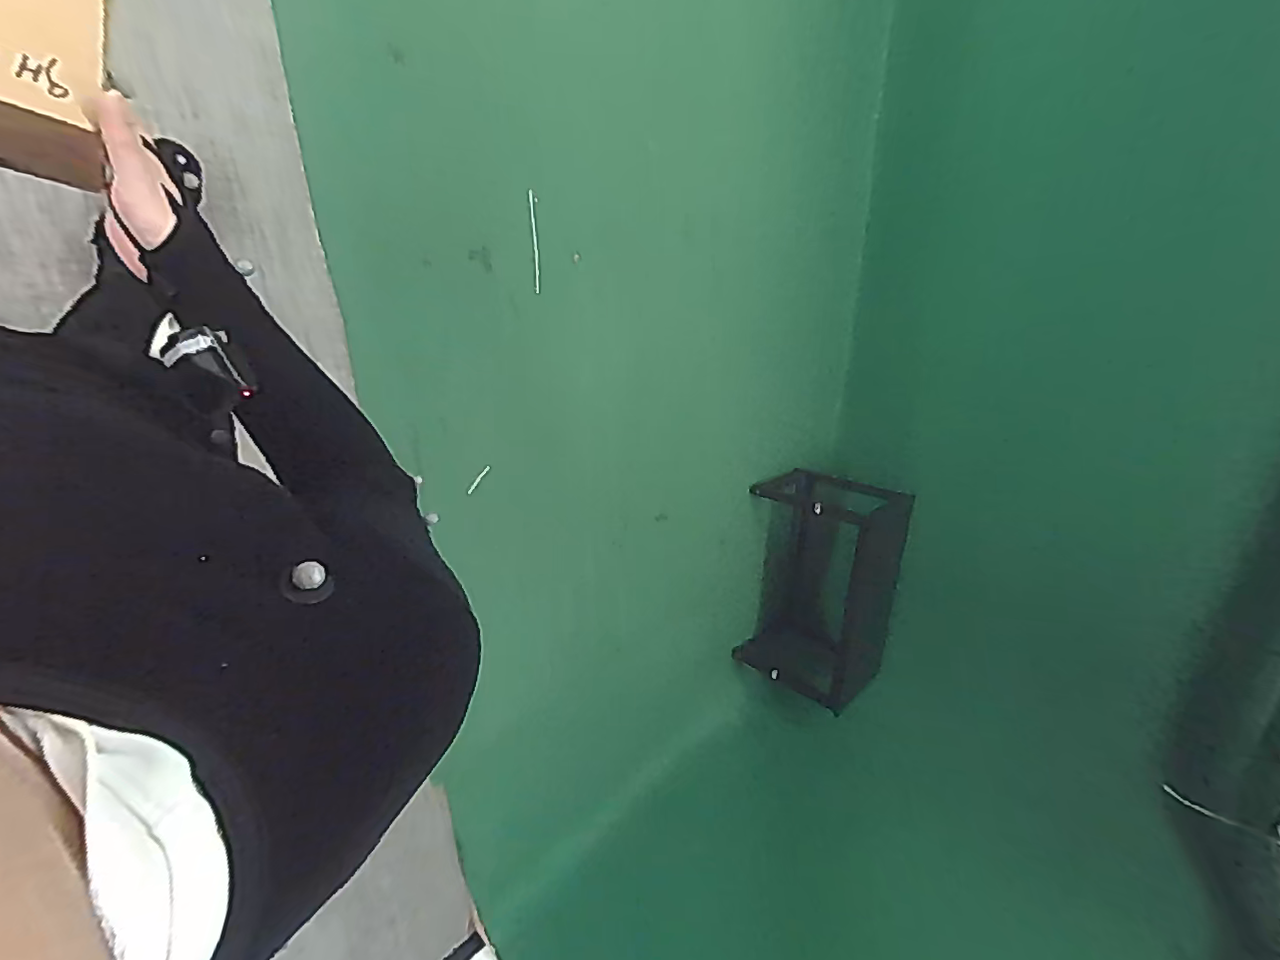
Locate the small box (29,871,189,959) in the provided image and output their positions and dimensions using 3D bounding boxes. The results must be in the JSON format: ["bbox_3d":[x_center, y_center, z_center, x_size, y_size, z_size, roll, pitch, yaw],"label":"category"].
[{"bbox_3d":[-0.863,0.809,0.892,0.168,0.176,0.179,-17,117,-44],"label":"small box"}]

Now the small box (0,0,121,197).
[{"bbox_3d":[-0.495,-0.341,0.392,0.168,0.176,0.179,2,95,-45],"label":"small box"}]
